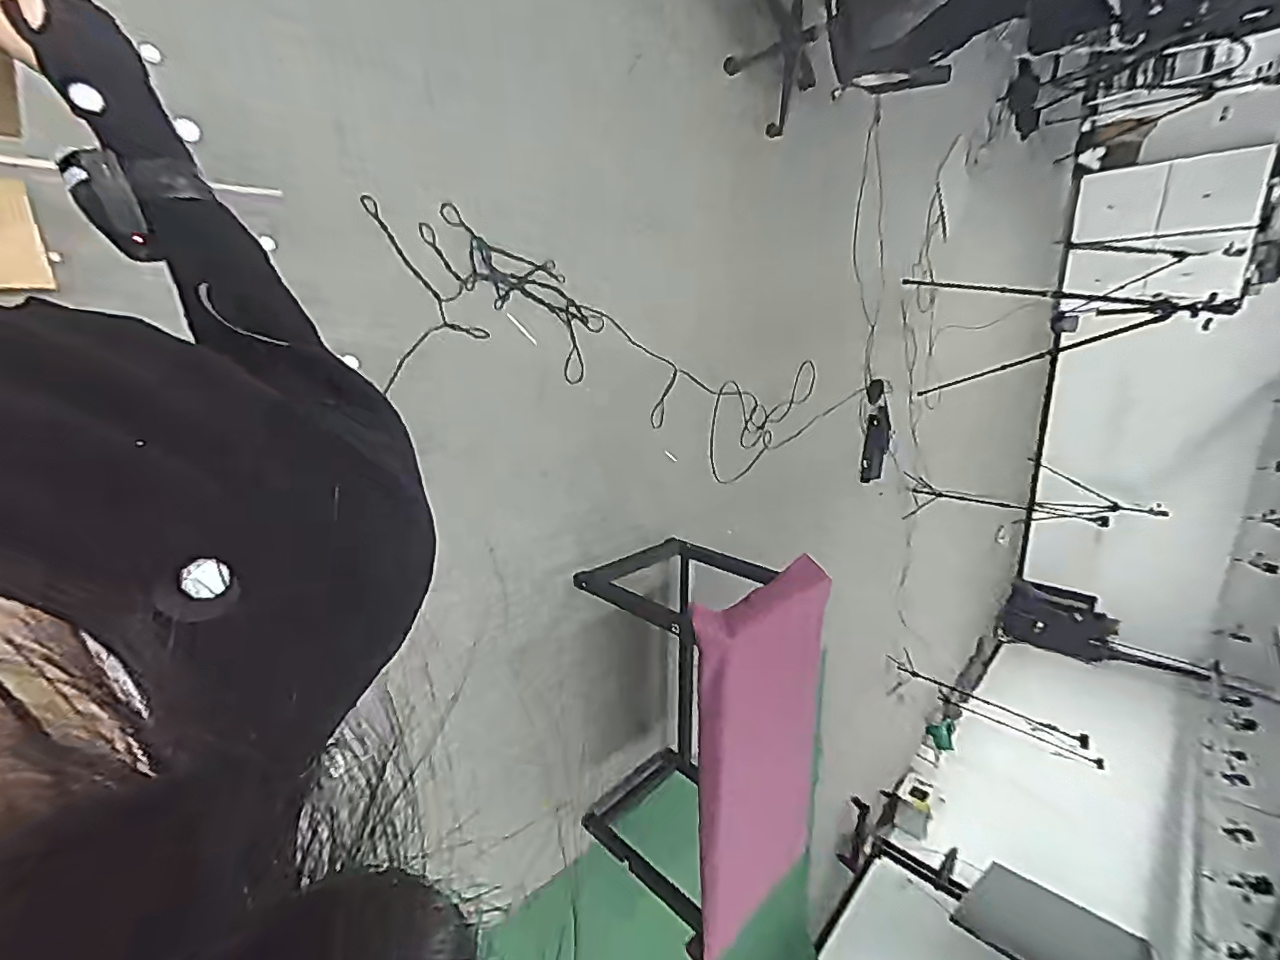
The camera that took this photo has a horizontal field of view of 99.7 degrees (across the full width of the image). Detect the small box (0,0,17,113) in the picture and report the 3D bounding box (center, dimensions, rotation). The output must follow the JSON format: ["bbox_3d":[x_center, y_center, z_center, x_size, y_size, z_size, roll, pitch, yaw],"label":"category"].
[{"bbox_3d":[-0.559,-0.374,0.350,0.179,0.176,0.168,-18,105,-46],"label":"small box"}]

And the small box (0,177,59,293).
[{"bbox_3d":[-1.106,-0.400,0.890,0.179,0.176,0.168,-17,112,-42],"label":"small box"}]
